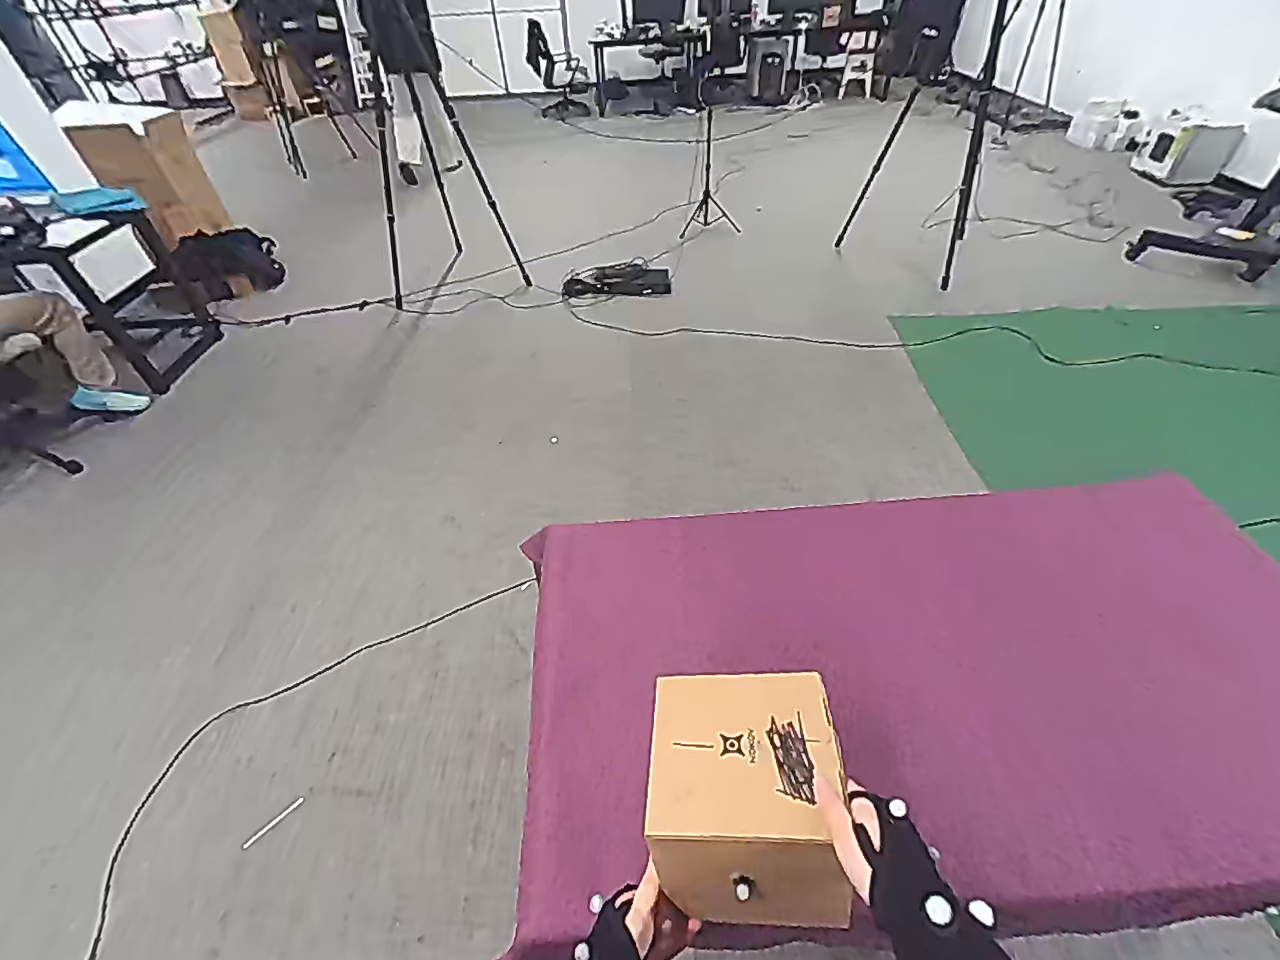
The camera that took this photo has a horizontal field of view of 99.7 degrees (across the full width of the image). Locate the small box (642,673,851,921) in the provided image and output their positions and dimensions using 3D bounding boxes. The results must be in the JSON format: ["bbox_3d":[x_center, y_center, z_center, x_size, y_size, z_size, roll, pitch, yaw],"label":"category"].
[{"bbox_3d":[0.107,0.323,0.560,0.179,0.176,0.168,-5,31,10],"label":"small box"}]
